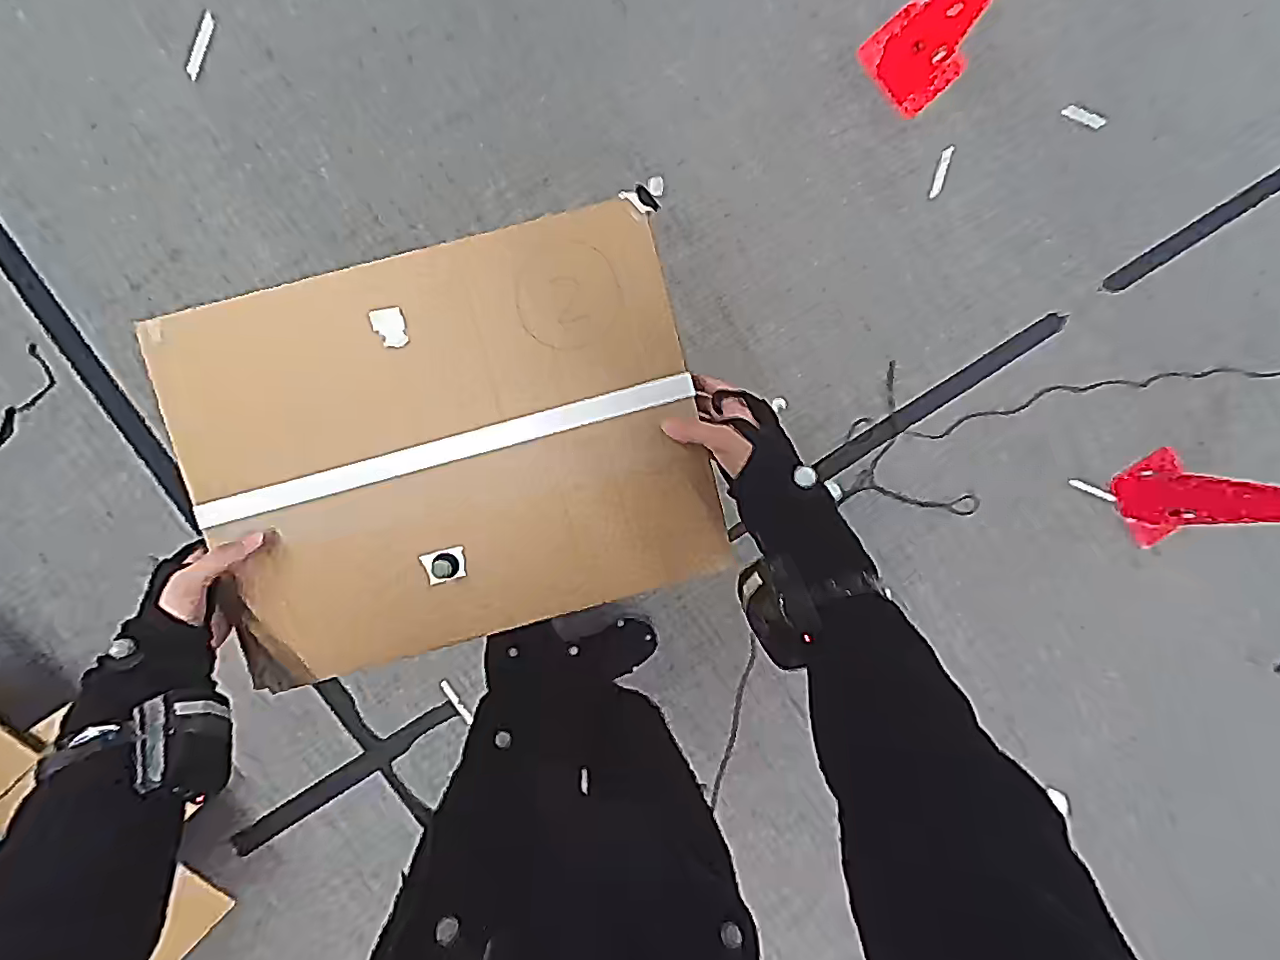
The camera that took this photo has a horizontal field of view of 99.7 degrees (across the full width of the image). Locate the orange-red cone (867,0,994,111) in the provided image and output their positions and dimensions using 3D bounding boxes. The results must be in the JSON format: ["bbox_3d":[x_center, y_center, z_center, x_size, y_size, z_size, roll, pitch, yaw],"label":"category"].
[{"bbox_3d":[0.647,-0.955,1.047,0.198,0.360,0.199,-41,95,-4],"label":"orange-red cone"}]
